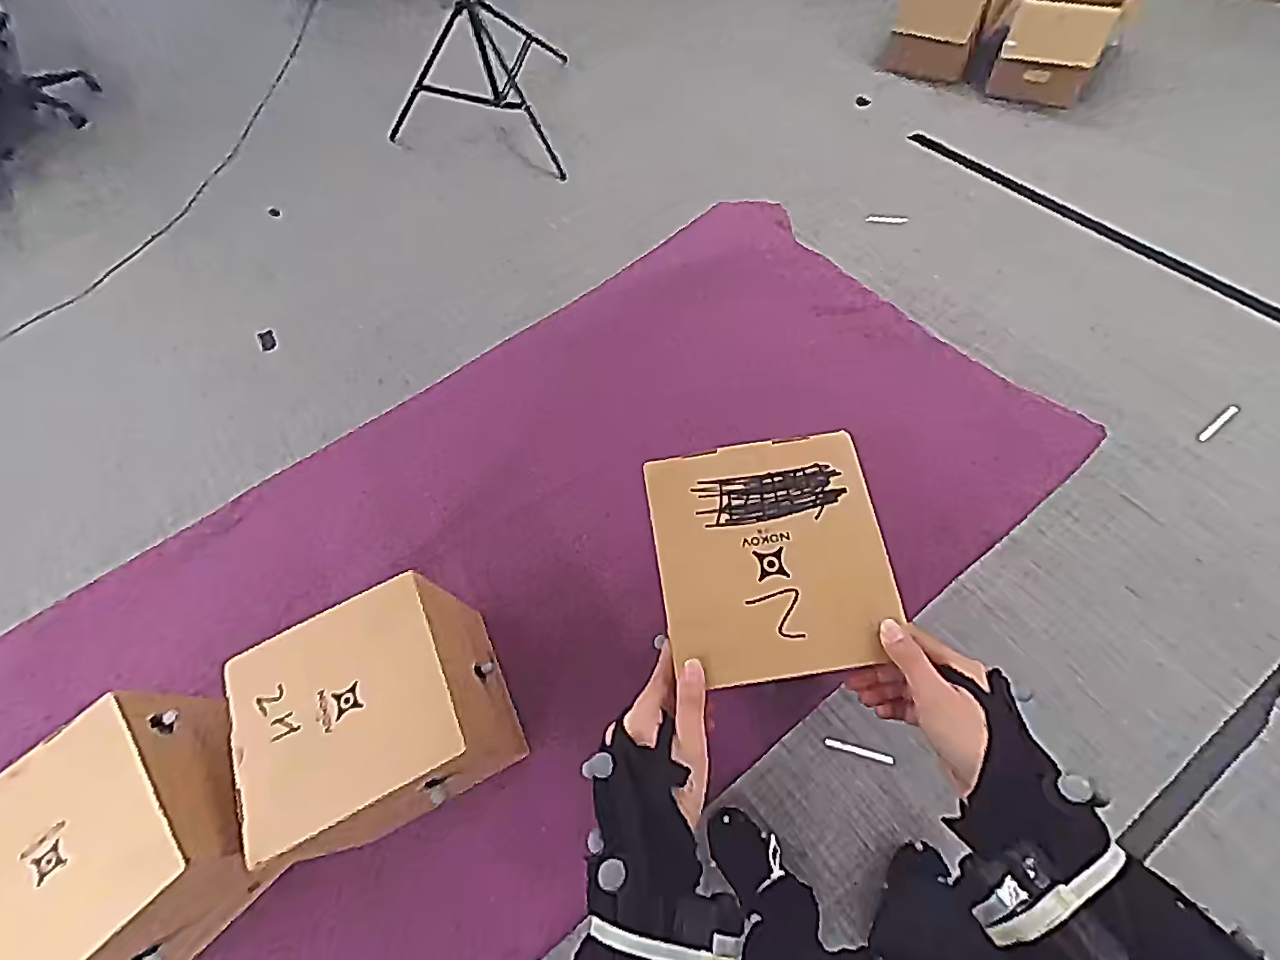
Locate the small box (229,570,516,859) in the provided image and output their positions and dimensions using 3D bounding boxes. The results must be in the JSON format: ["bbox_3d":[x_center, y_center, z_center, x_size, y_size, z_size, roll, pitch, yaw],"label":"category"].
[{"bbox_3d":[-0.234,0.215,0.512,0.179,0.176,0.168,-27,62,-7],"label":"small box"}]

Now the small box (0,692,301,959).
[{"bbox_3d":[-0.439,0.319,0.486,0.179,0.176,0.168,40,74,23],"label":"small box"}]
